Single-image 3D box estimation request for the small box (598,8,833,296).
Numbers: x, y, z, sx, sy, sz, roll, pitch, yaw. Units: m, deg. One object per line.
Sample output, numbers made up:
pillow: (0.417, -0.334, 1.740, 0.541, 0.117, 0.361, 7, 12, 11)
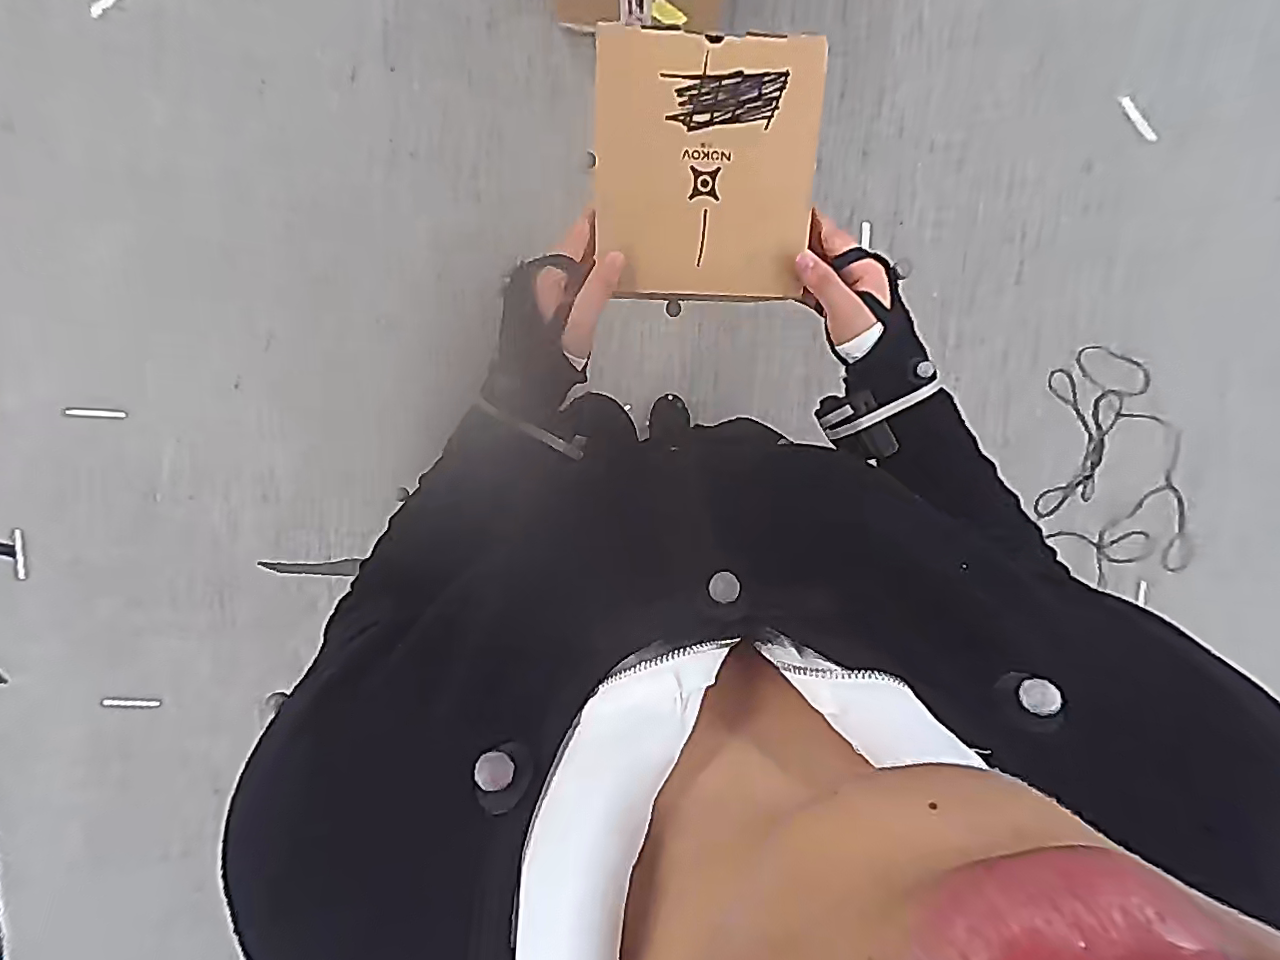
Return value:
small box: (0.047, -0.260, 0.474, 0.168, 0.176, 0.179, 1, 107, -4)
